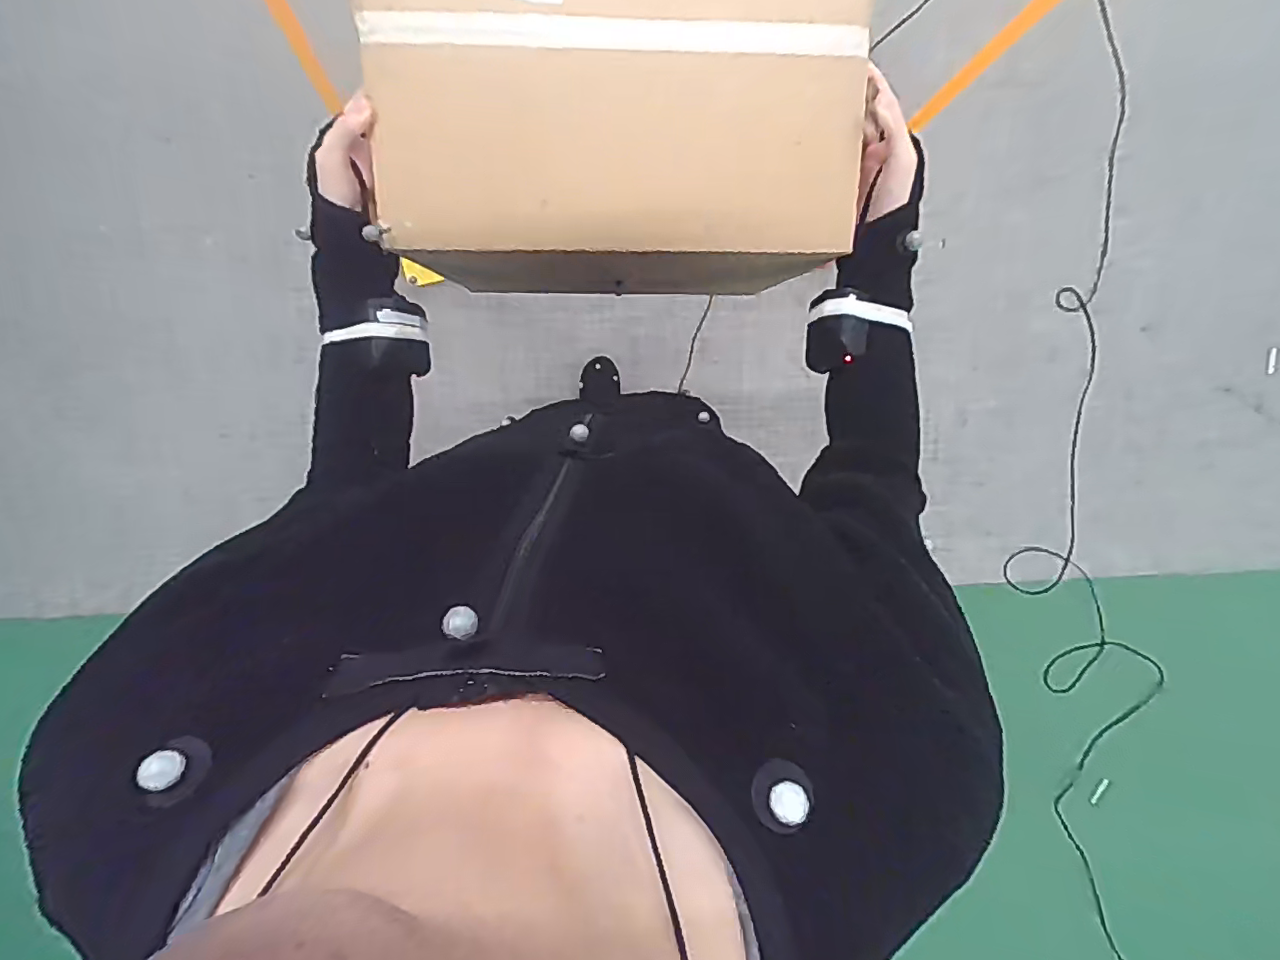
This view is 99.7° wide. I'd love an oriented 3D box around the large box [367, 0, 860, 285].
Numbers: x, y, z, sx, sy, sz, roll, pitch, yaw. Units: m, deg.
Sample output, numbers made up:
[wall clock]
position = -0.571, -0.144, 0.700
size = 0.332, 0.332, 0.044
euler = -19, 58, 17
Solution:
[large box]
position = -0.024, -0.388, 0.586
size = 0.408, 0.320, 0.320
euler = -1, 103, -3
